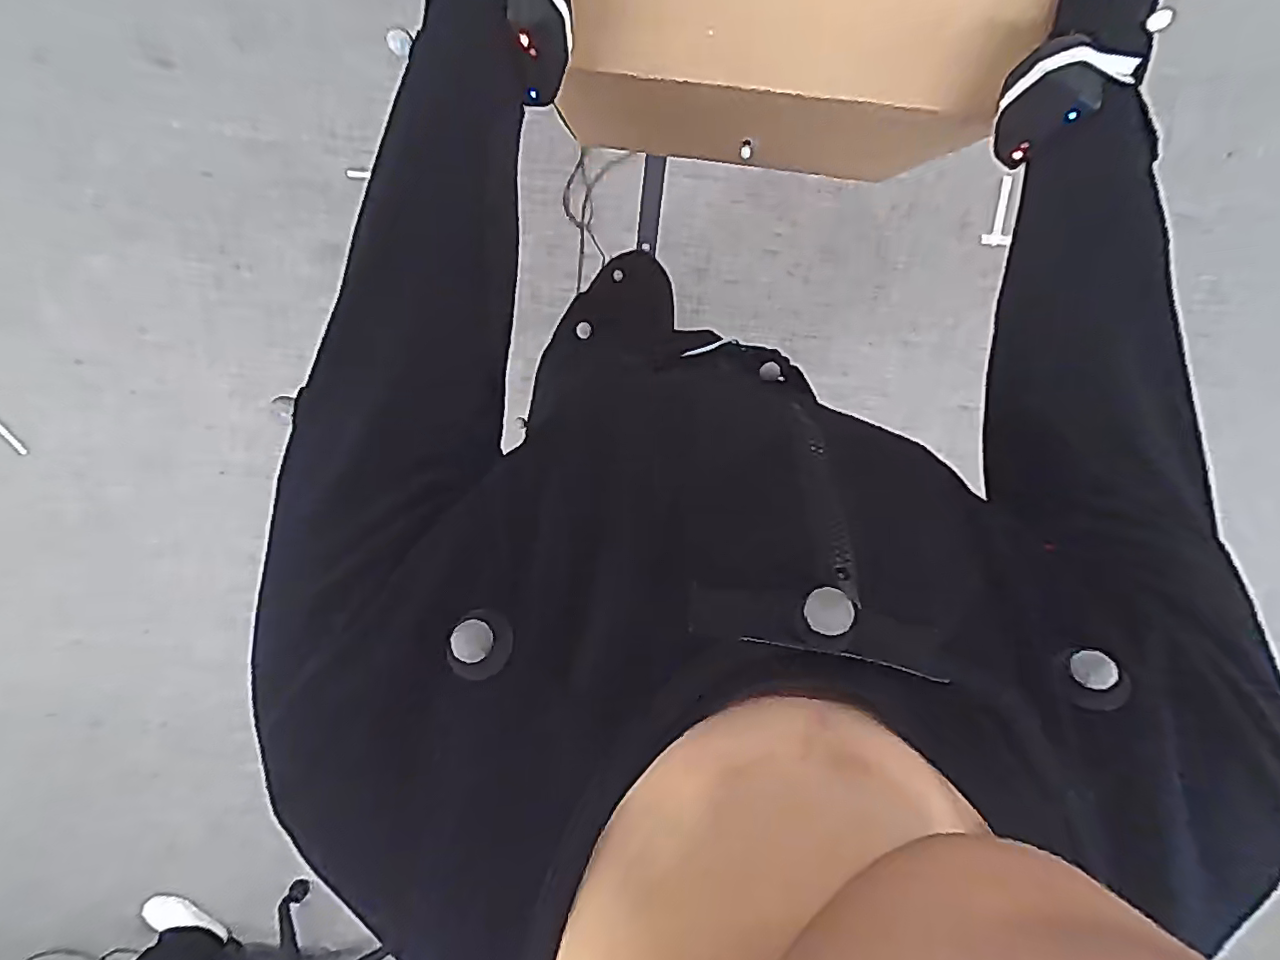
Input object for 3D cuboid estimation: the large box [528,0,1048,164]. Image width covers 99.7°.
[{"bbox_3d":[0.130,-0.518,0.518,0.408,0.320,0.320,7,110,0],"label":"large box"}]
